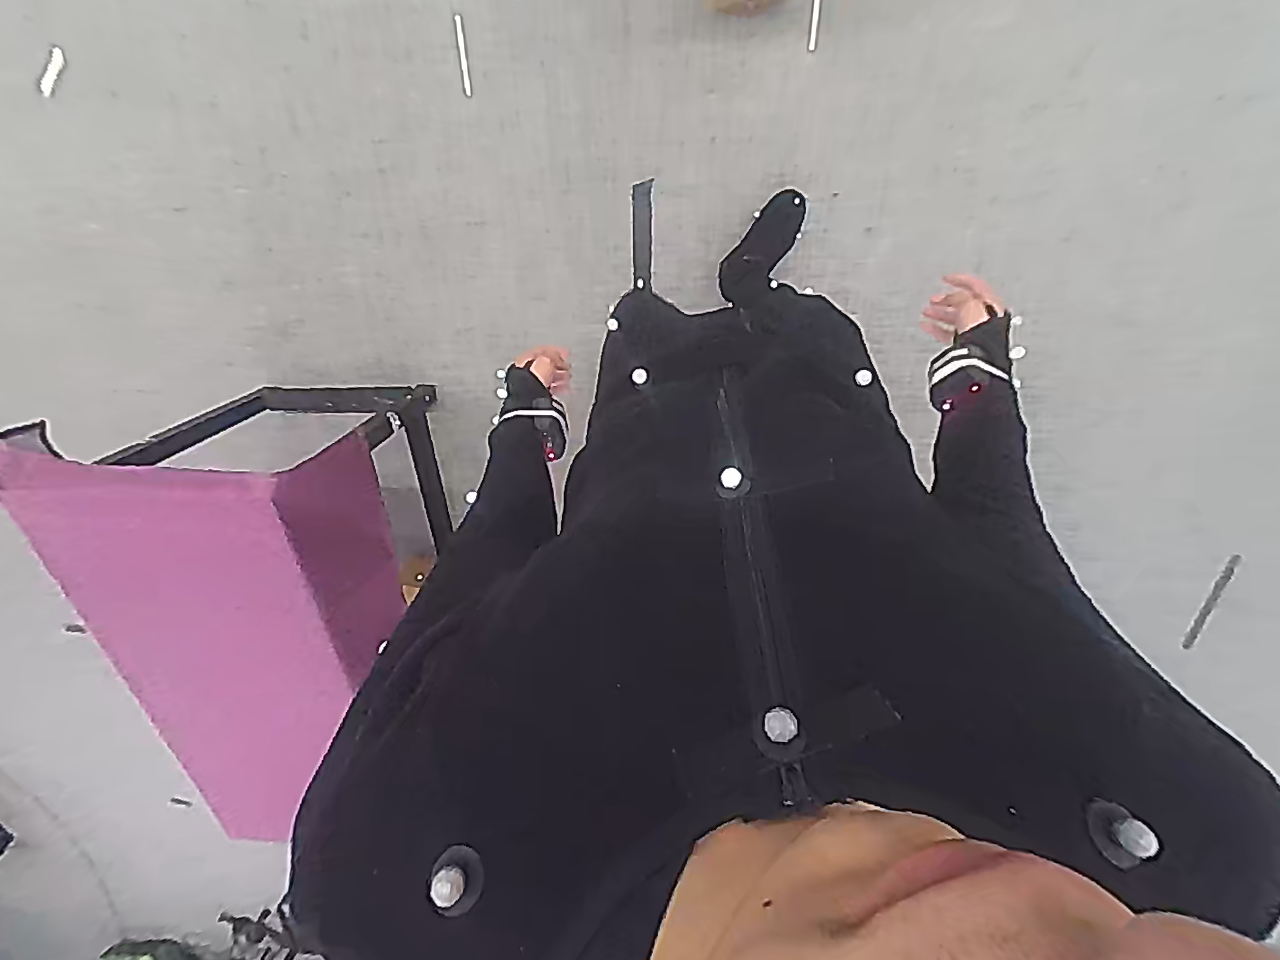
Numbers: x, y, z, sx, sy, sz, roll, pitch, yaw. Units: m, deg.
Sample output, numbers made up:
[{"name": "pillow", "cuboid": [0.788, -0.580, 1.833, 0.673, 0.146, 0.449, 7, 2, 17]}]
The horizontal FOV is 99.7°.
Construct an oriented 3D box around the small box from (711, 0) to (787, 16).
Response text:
[{"name": "small box", "cuboid": [0.221, -1.060, 1.068, 0.168, 0.176, 0.179, -2, 118, 8]}]
